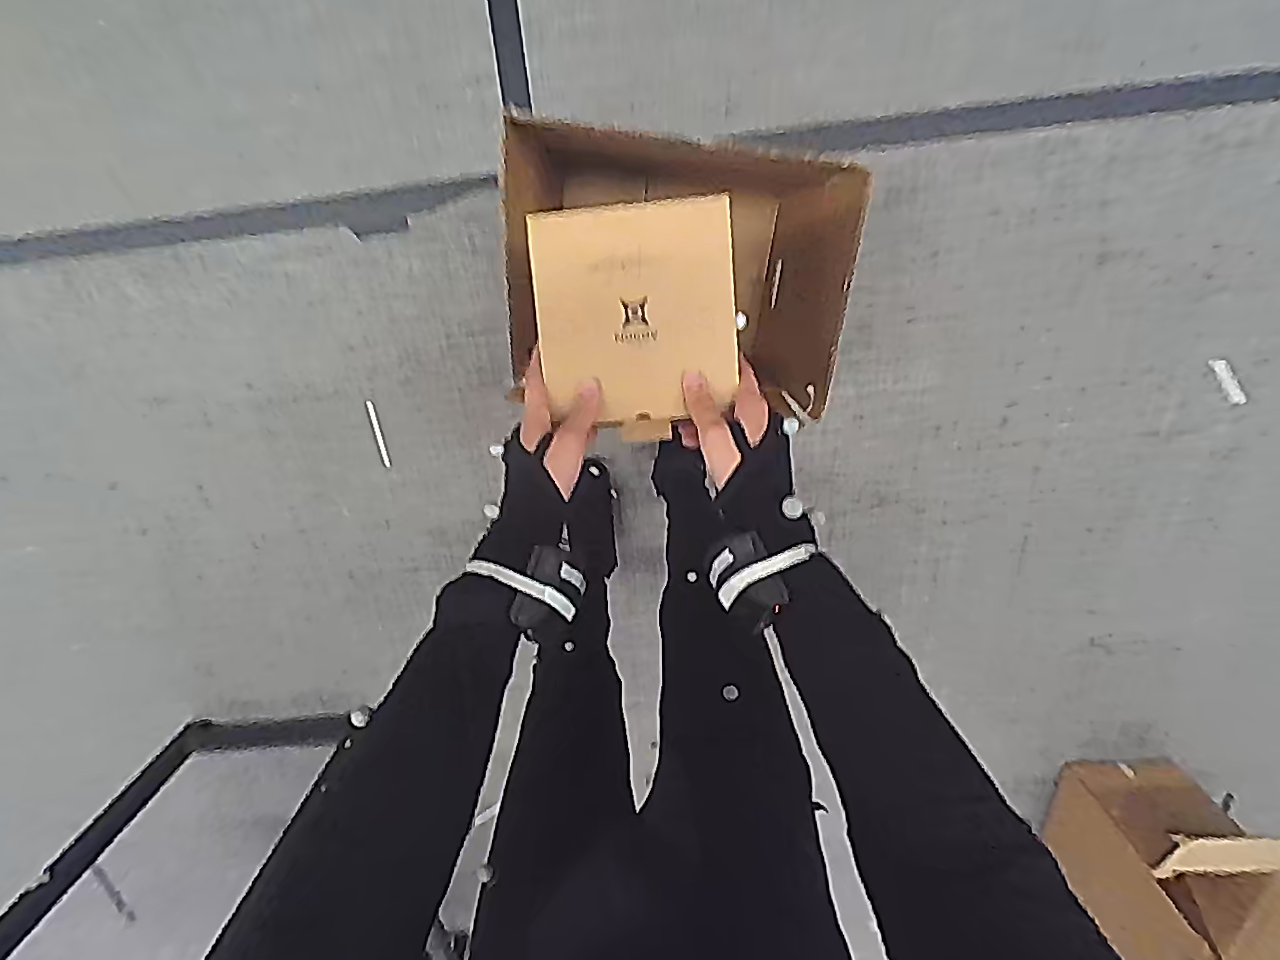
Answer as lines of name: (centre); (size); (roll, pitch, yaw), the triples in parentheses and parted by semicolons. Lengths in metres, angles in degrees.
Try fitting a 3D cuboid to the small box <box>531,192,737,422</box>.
small box: (0.001, -0.153, 0.527); (0.168, 0.176, 0.179); (-4, 98, 3)
